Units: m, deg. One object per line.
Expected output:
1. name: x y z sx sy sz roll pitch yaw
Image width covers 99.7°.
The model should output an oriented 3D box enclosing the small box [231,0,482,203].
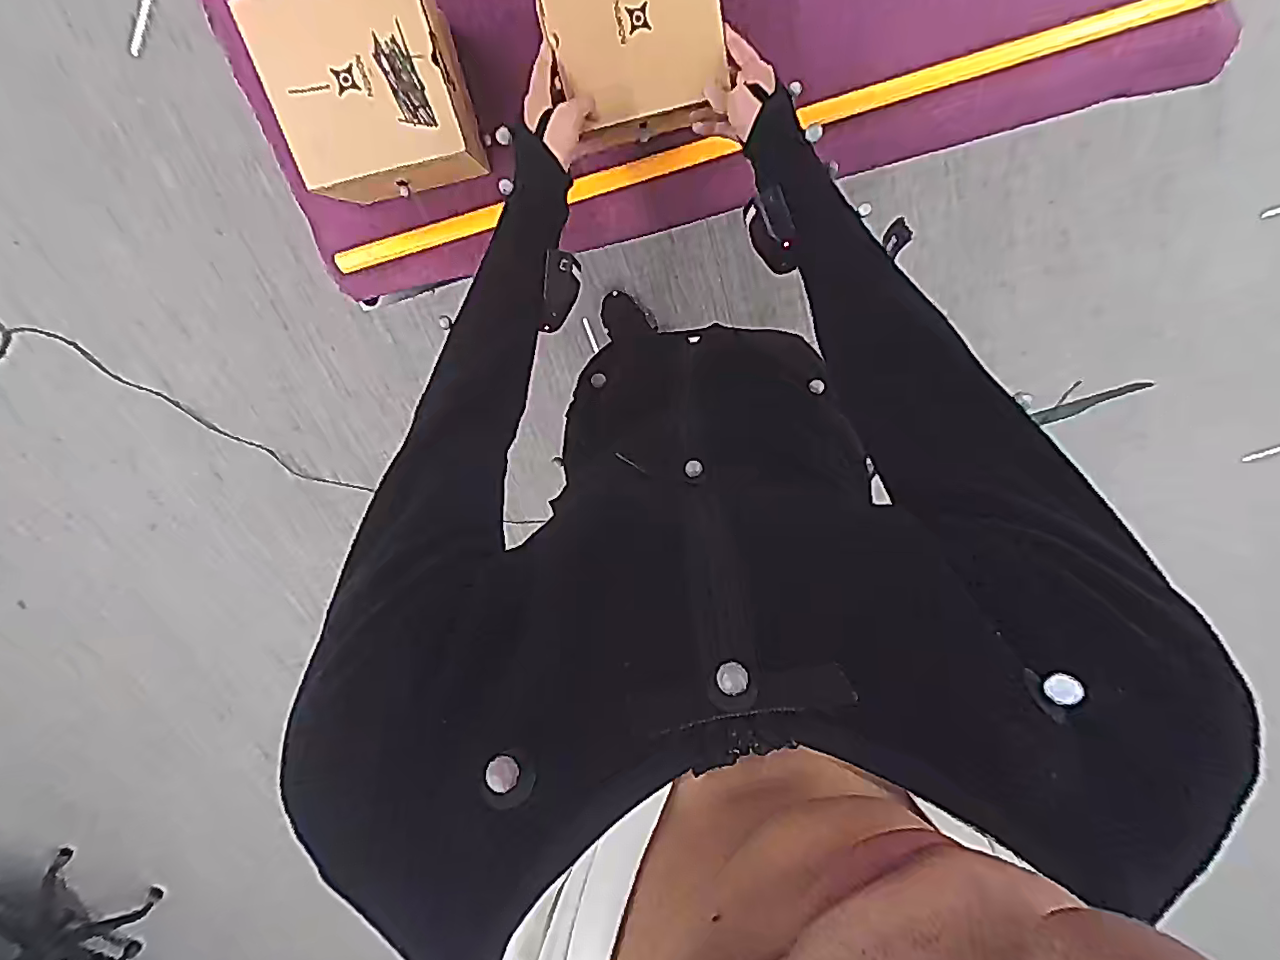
1. small box: -0.288 -0.423 0.605 0.179 0.176 0.168 -14 113 0

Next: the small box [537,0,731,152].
1. small box: -0.013 -0.486 0.604 0.179 0.176 0.168 -14 115 2
